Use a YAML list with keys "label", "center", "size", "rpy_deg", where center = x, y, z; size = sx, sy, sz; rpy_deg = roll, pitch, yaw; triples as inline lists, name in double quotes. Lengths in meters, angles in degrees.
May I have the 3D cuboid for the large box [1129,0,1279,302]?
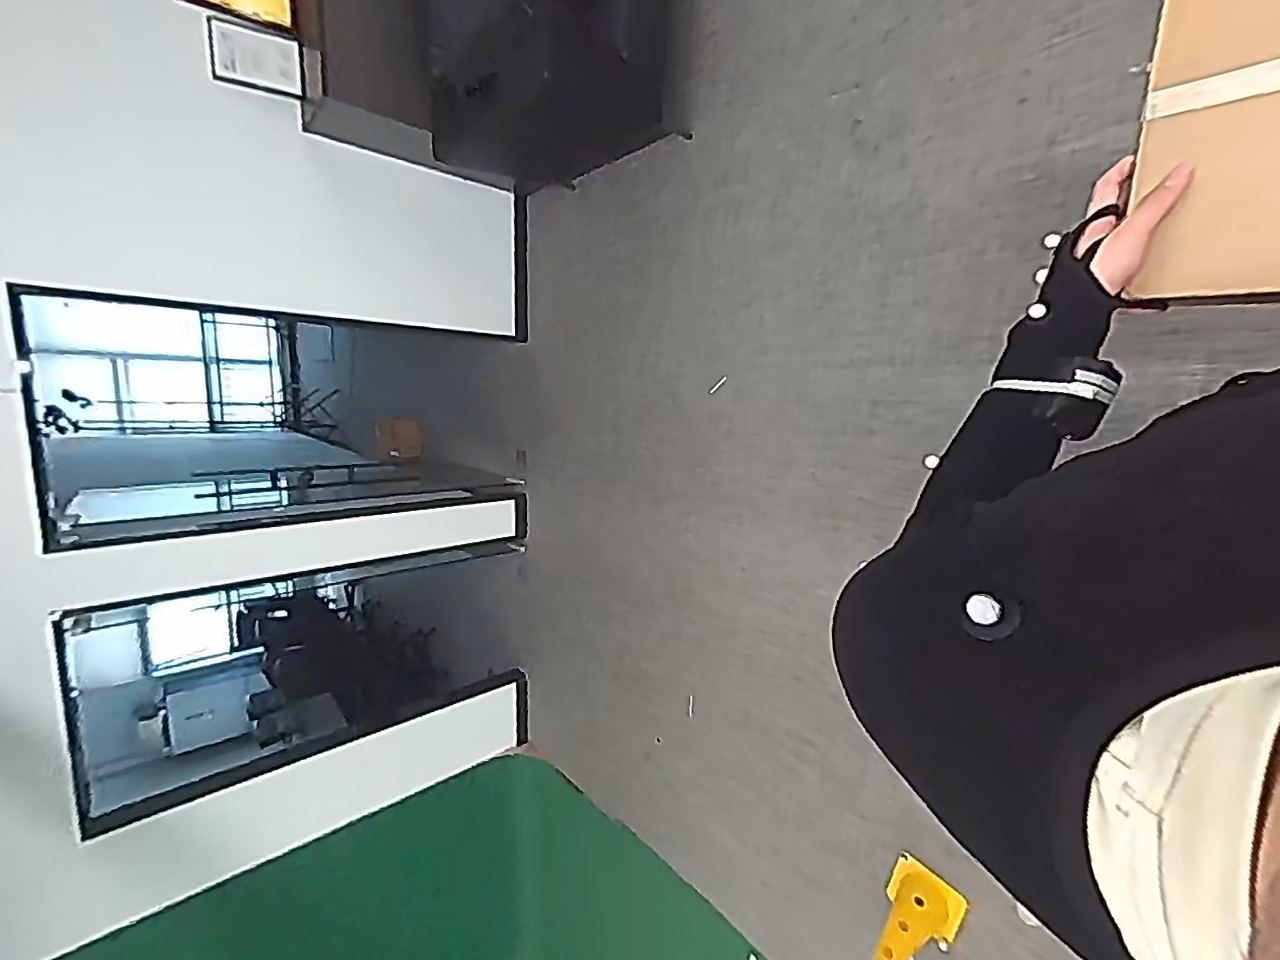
- label: "large box"
  center: [0.683, -0.322, 0.420]
  size: [0.408, 0.320, 0.320]
  rpy_deg: [12, 111, 46]
